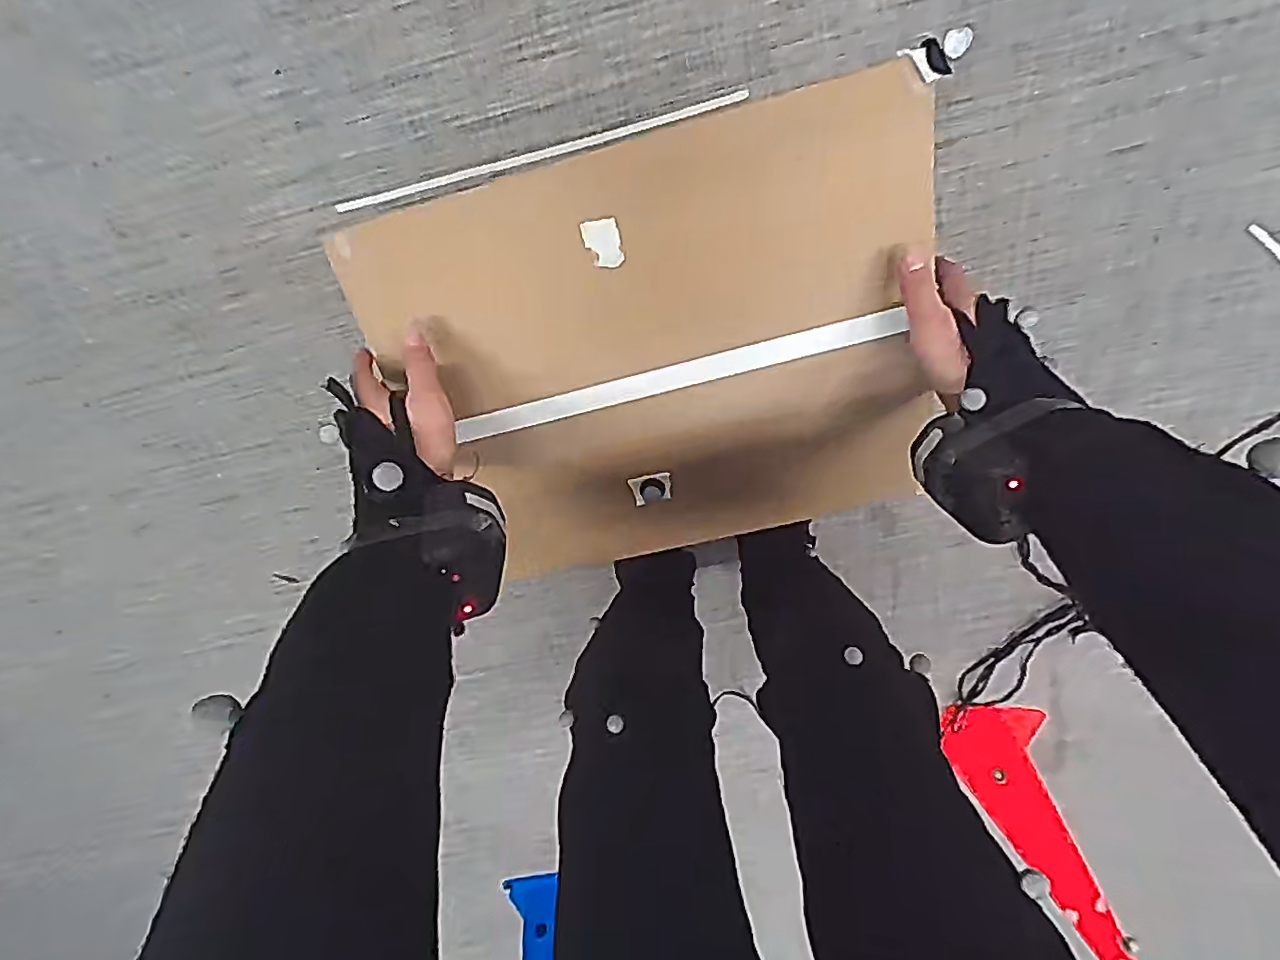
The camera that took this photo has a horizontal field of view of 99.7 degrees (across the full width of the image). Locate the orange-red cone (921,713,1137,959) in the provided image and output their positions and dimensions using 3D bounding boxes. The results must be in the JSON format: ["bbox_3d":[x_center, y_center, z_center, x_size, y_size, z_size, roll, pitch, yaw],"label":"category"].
[{"bbox_3d":[0.657,0.591,0.872,0.199,0.360,0.198,5,117,-4],"label":"orange-red cone"}]

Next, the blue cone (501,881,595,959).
[{"bbox_3d":[-0.212,1.081,1.122,0.192,0.380,0.193,-12,115,6],"label":"blue cone"}]
